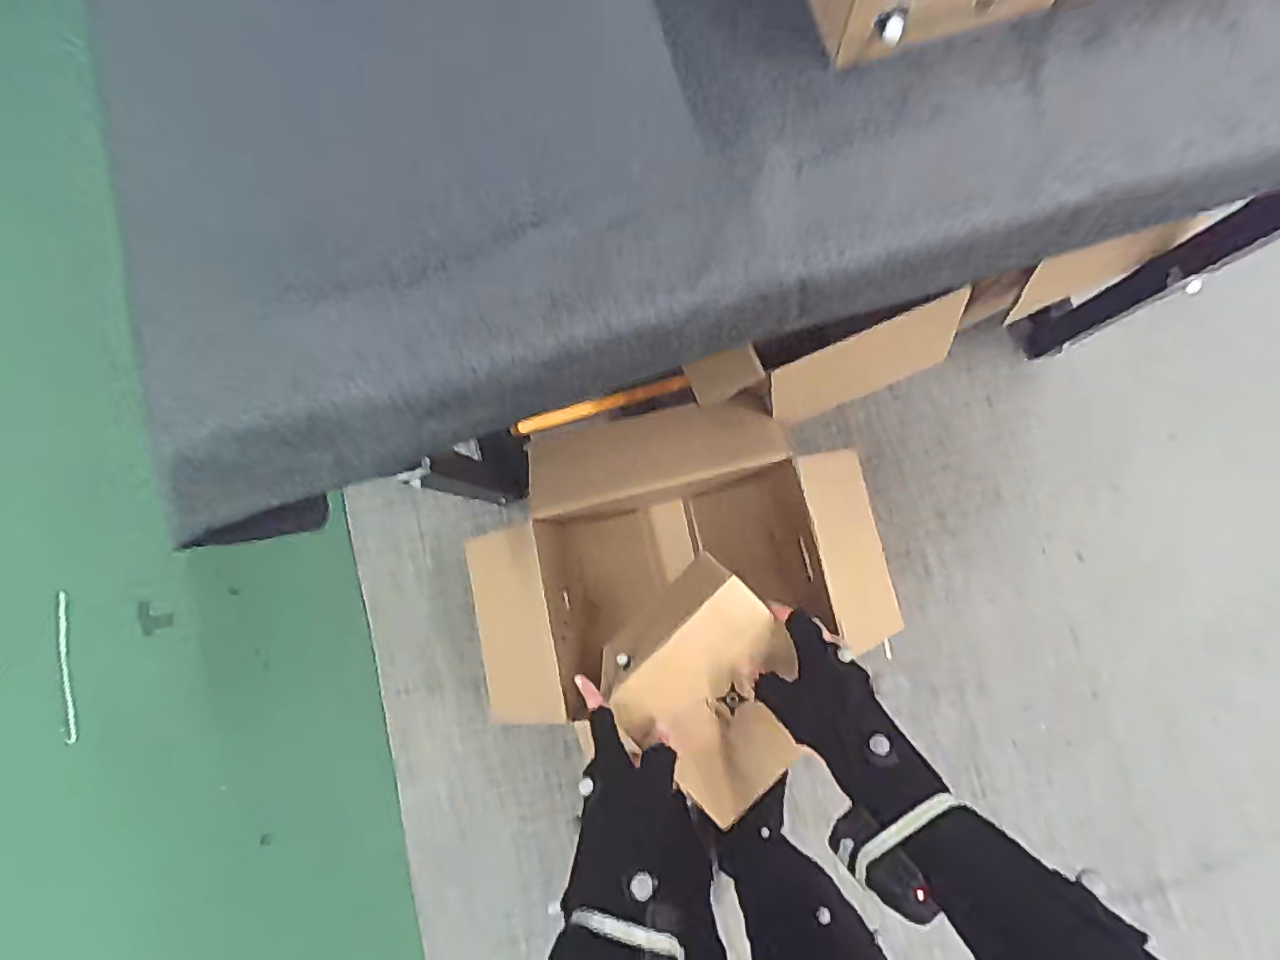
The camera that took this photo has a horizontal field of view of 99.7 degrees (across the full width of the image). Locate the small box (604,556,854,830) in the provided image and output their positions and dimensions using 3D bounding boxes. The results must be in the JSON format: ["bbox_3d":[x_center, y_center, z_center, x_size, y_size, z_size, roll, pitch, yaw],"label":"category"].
[{"bbox_3d":[0.078,0.201,0.569,0.168,0.176,0.179,44,90,-1],"label":"small box"}]
